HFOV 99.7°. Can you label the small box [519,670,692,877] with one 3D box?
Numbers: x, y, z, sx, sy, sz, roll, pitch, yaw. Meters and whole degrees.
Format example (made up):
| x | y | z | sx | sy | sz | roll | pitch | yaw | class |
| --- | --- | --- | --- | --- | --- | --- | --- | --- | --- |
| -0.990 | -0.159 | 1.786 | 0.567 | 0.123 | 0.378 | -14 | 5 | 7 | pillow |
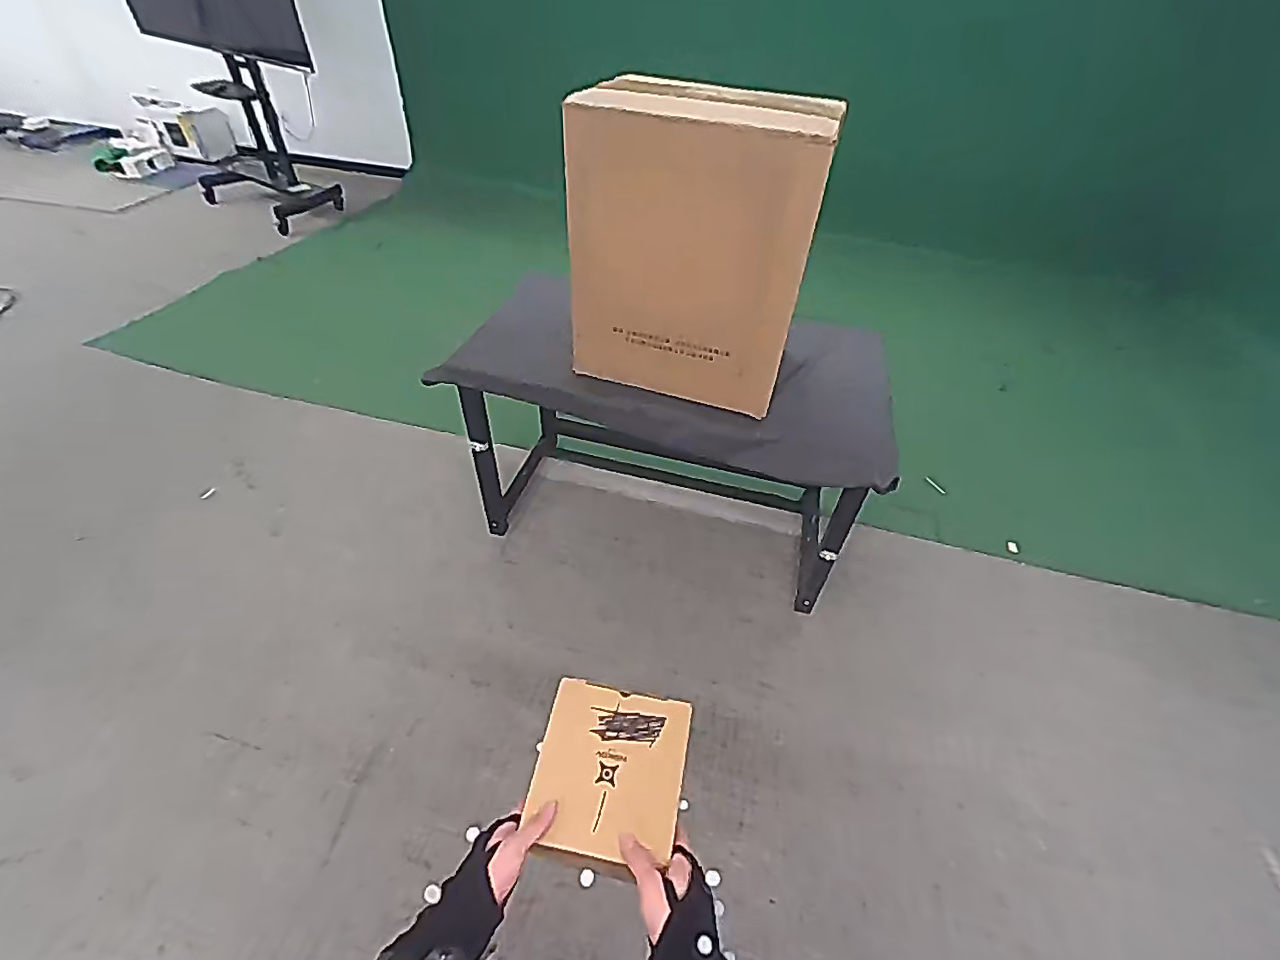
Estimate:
| x | y | z | sx | sy | sz | roll | pitch | yaw | class |
| --- | --- | --- | --- | --- | --- | --- | --- | --- | --- |
| -0.037 | 0.368 | 0.676 | 0.168 | 0.176 | 0.179 | 10 | 50 | 6 | small box |
